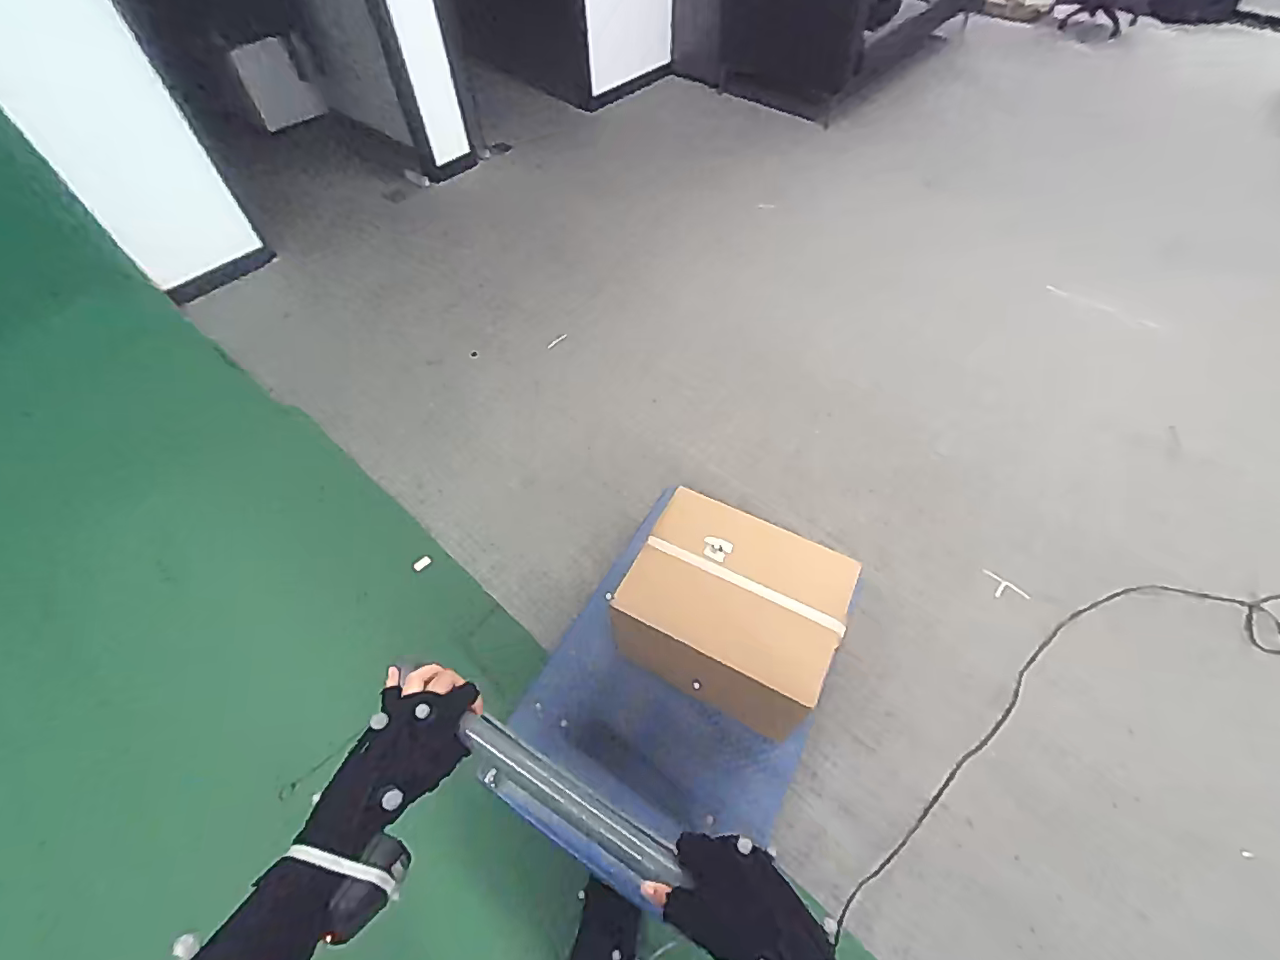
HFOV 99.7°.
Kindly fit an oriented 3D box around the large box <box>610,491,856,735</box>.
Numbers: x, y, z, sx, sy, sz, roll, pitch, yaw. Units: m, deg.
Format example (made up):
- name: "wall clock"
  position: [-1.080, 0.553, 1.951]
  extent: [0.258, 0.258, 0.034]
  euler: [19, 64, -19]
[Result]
- name: "large box"
  position: [0.193, 0.290, 1.172]
  extent: [0.408, 0.320, 0.320]
  euler: [22, 57, 17]
